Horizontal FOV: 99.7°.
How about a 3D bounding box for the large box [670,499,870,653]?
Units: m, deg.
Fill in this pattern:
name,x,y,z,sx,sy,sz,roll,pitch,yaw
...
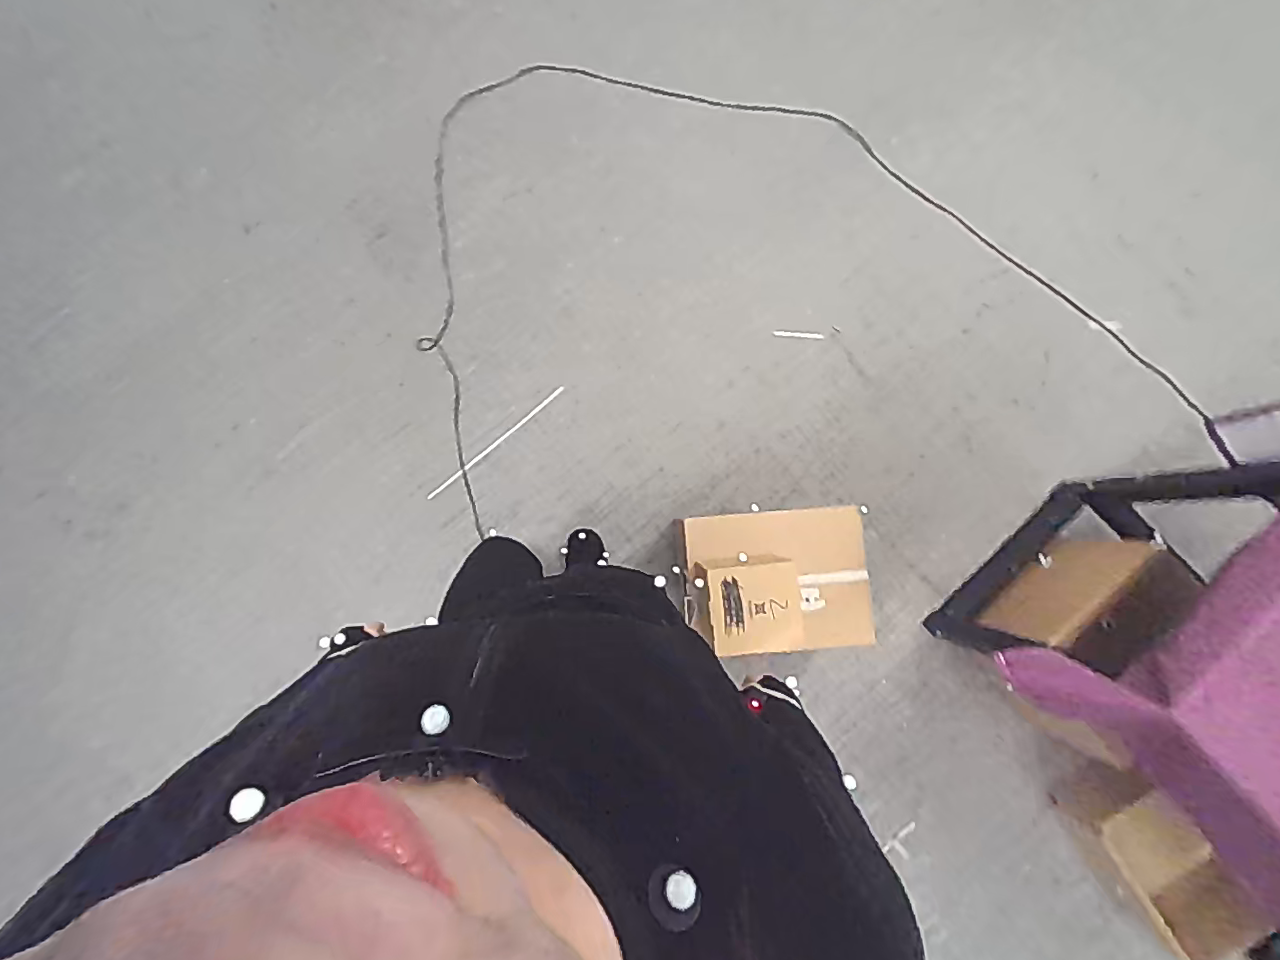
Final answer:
name,x,y,z,sx,sy,sz,roll,pitch,yaw
large box,0.299,0.224,1.355,0.408,0.320,0.320,-5,87,-2
